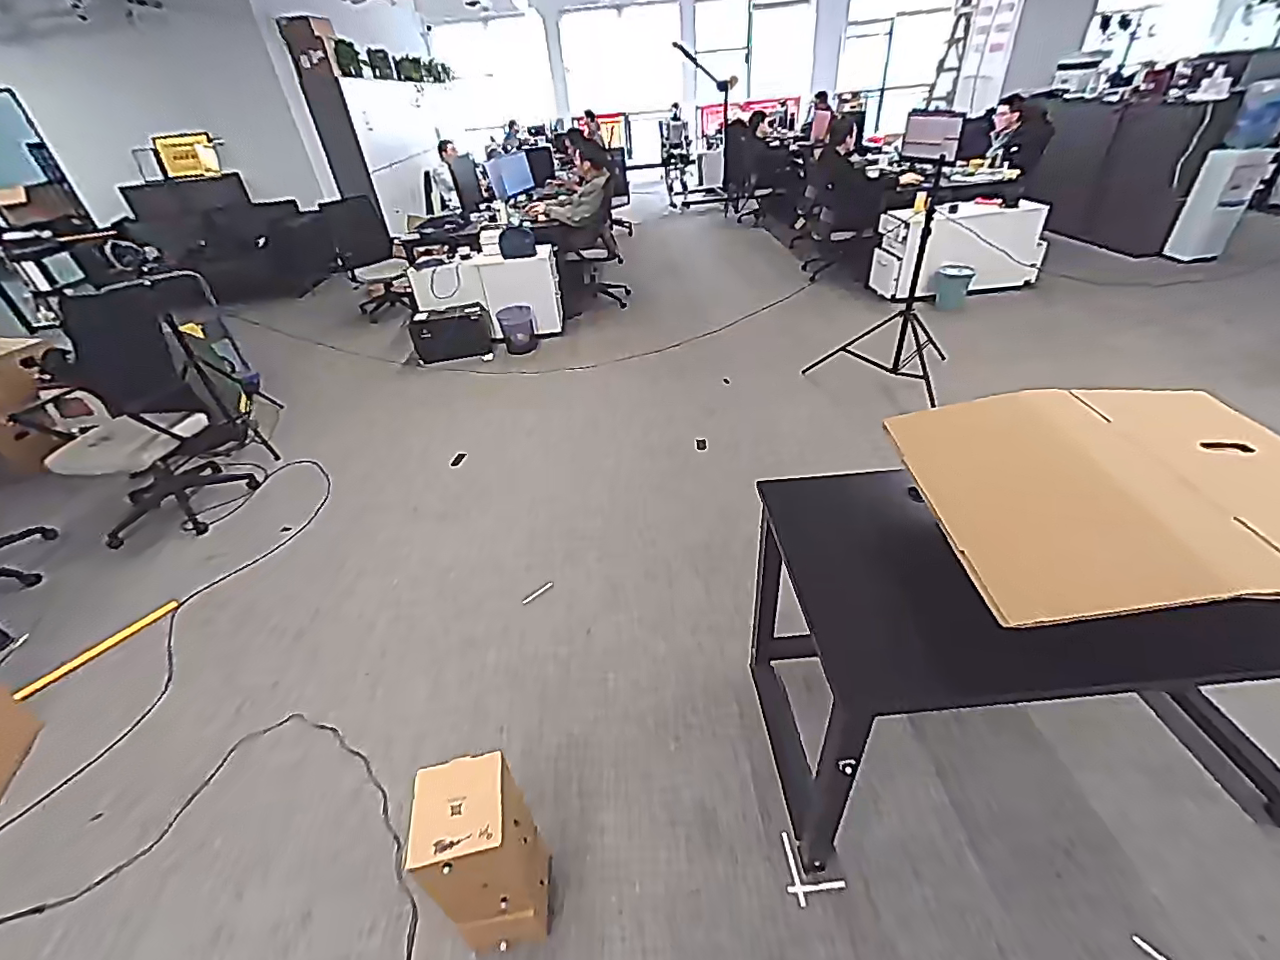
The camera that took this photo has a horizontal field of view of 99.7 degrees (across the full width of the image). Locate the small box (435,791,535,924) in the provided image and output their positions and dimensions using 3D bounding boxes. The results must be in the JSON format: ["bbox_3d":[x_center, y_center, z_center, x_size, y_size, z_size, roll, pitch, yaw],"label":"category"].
[{"bbox_3d":[-0.318,0.802,1.145,0.168,0.176,0.179,-9,34,-6],"label":"small box"}]

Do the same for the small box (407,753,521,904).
[{"bbox_3d":[-0.330,0.671,1.046,0.168,0.176,0.179,-11,35,-7],"label":"small box"}]

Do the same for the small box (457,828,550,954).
[{"bbox_3d":[-0.302,0.936,1.234,0.168,0.176,0.179,-8,36,-3],"label":"small box"}]
